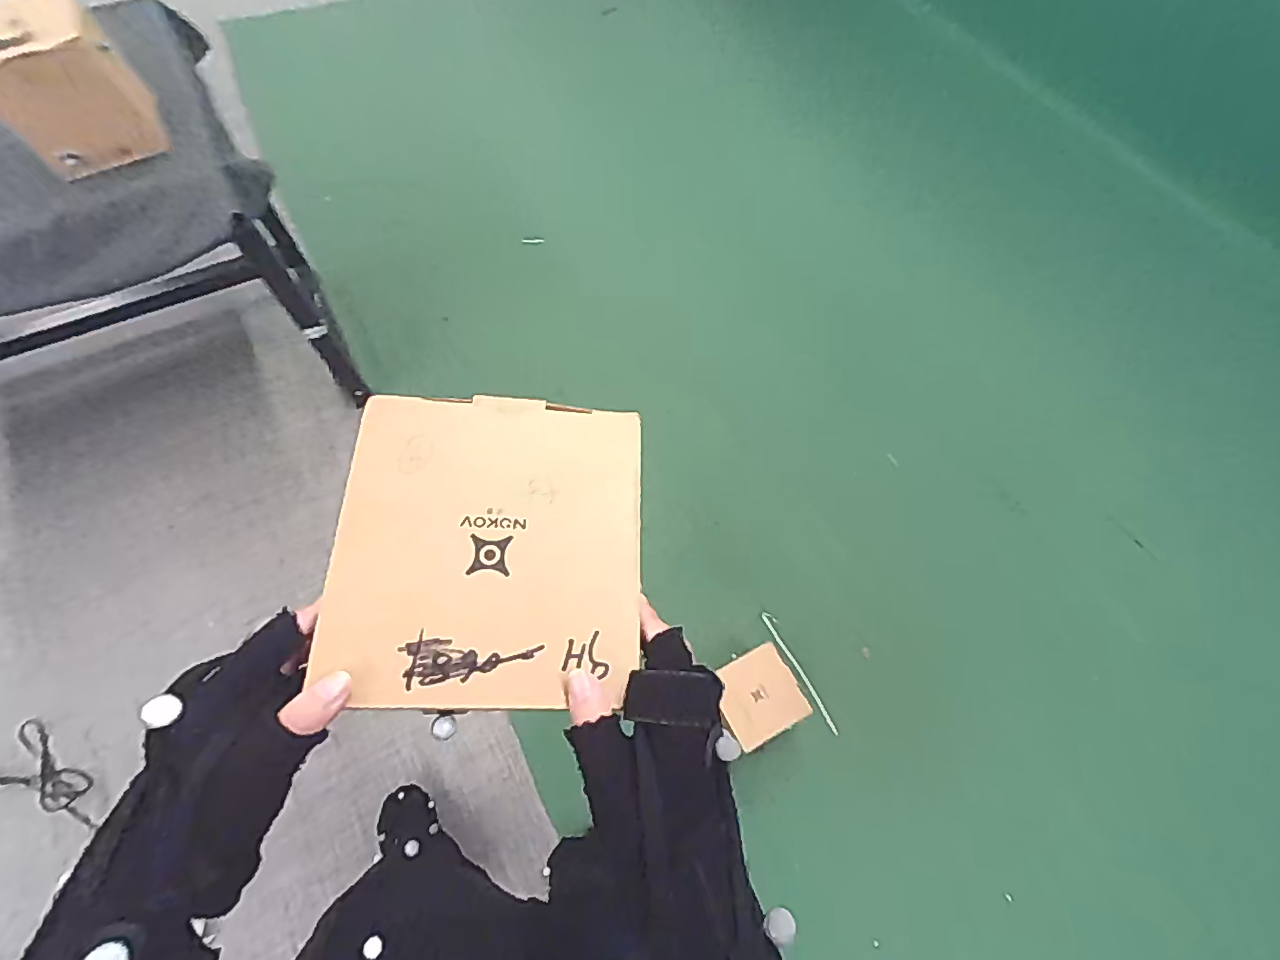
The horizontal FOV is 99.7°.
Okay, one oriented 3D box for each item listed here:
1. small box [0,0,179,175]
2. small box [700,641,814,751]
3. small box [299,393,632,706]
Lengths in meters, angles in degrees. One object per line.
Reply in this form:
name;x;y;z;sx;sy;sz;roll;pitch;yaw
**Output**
small box;-0.898;-0.626;0.875;0.168;0.176;0.179;-27;68;-12
small box;0.253;0.487;1.220;0.179;0.176;0.168;-25;68;-13
small box;-0.097;0.062;0.380;0.168;0.176;0.179;3;67;-6
